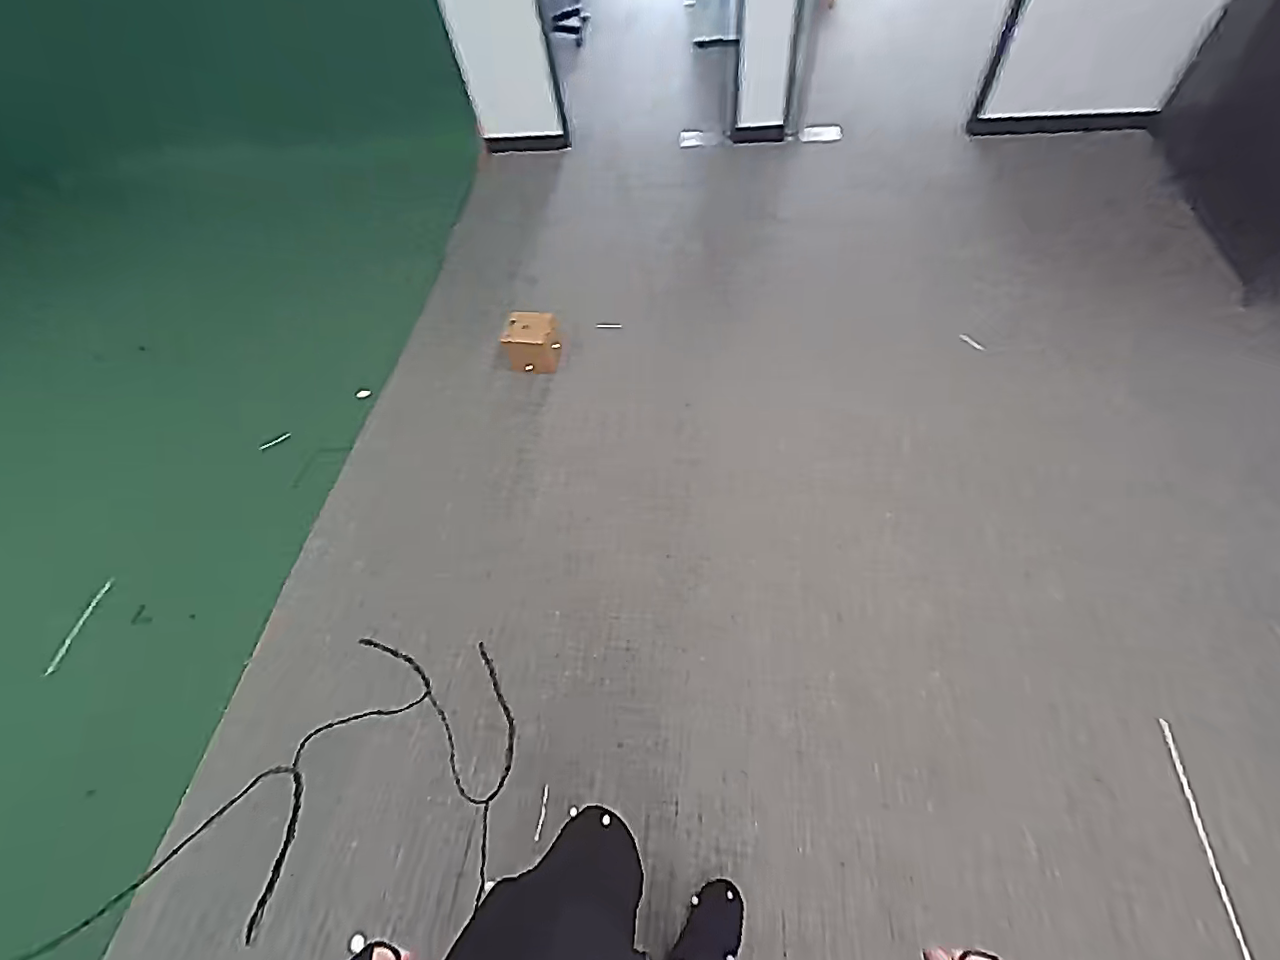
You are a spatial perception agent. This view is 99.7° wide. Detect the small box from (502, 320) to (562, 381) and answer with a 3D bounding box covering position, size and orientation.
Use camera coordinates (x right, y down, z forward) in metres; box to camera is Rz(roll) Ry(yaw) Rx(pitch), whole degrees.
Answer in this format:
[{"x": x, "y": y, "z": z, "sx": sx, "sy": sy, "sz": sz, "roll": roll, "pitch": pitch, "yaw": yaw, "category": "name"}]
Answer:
[{"x": -0.422, "y": -0.515, "z": 2.158, "sx": 0.179, "sy": 0.176, "sz": 0.168, "roll": 7, "pitch": 58, "yaw": 10, "category": "small box"}]
